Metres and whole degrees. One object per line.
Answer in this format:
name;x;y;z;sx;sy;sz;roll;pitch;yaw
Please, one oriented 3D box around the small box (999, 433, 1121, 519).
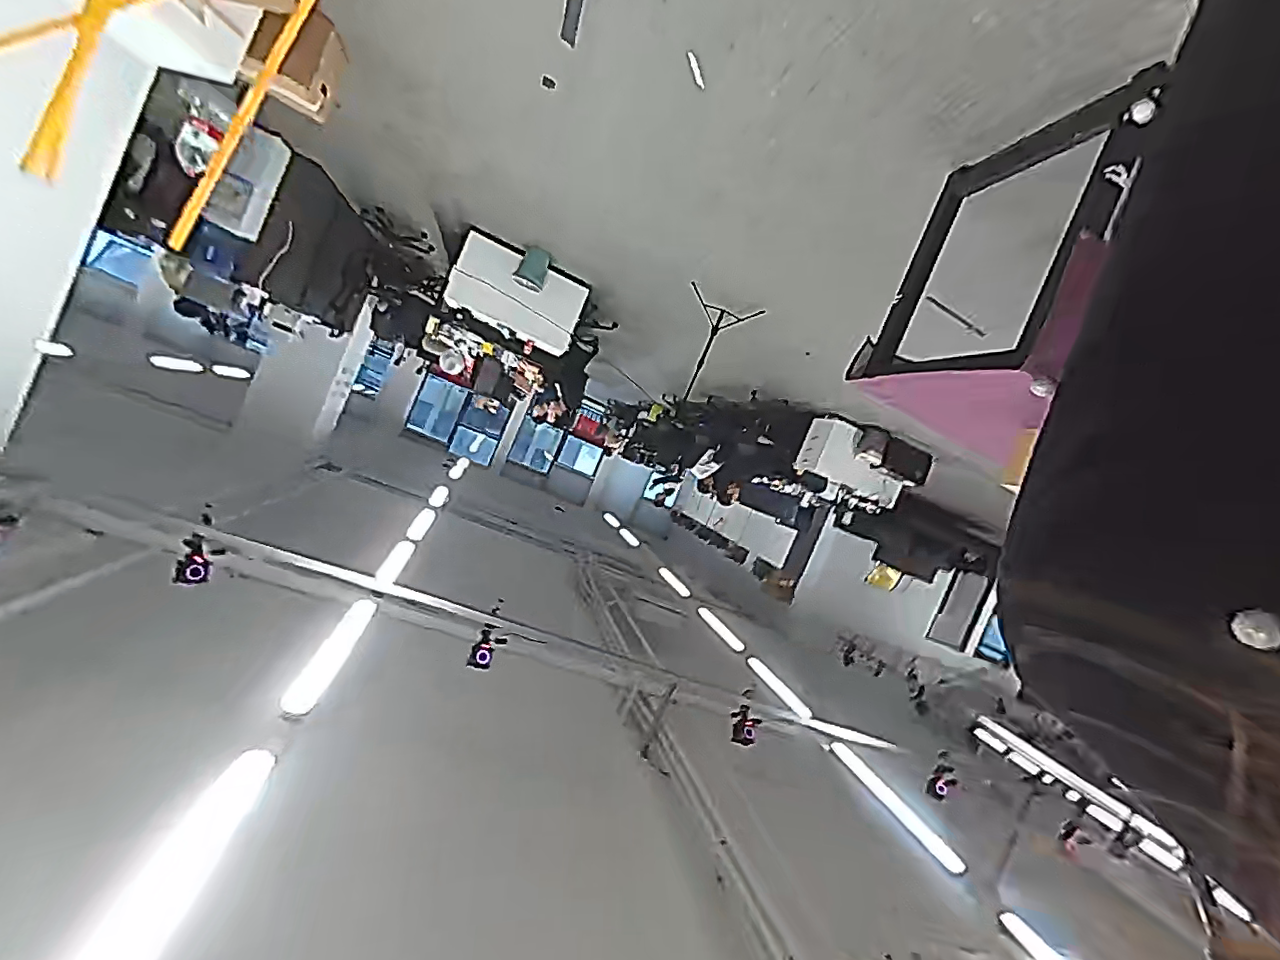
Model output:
small box;1.103;-0.017;1.415;0.168;0.176;0.179;23;-178;-13
